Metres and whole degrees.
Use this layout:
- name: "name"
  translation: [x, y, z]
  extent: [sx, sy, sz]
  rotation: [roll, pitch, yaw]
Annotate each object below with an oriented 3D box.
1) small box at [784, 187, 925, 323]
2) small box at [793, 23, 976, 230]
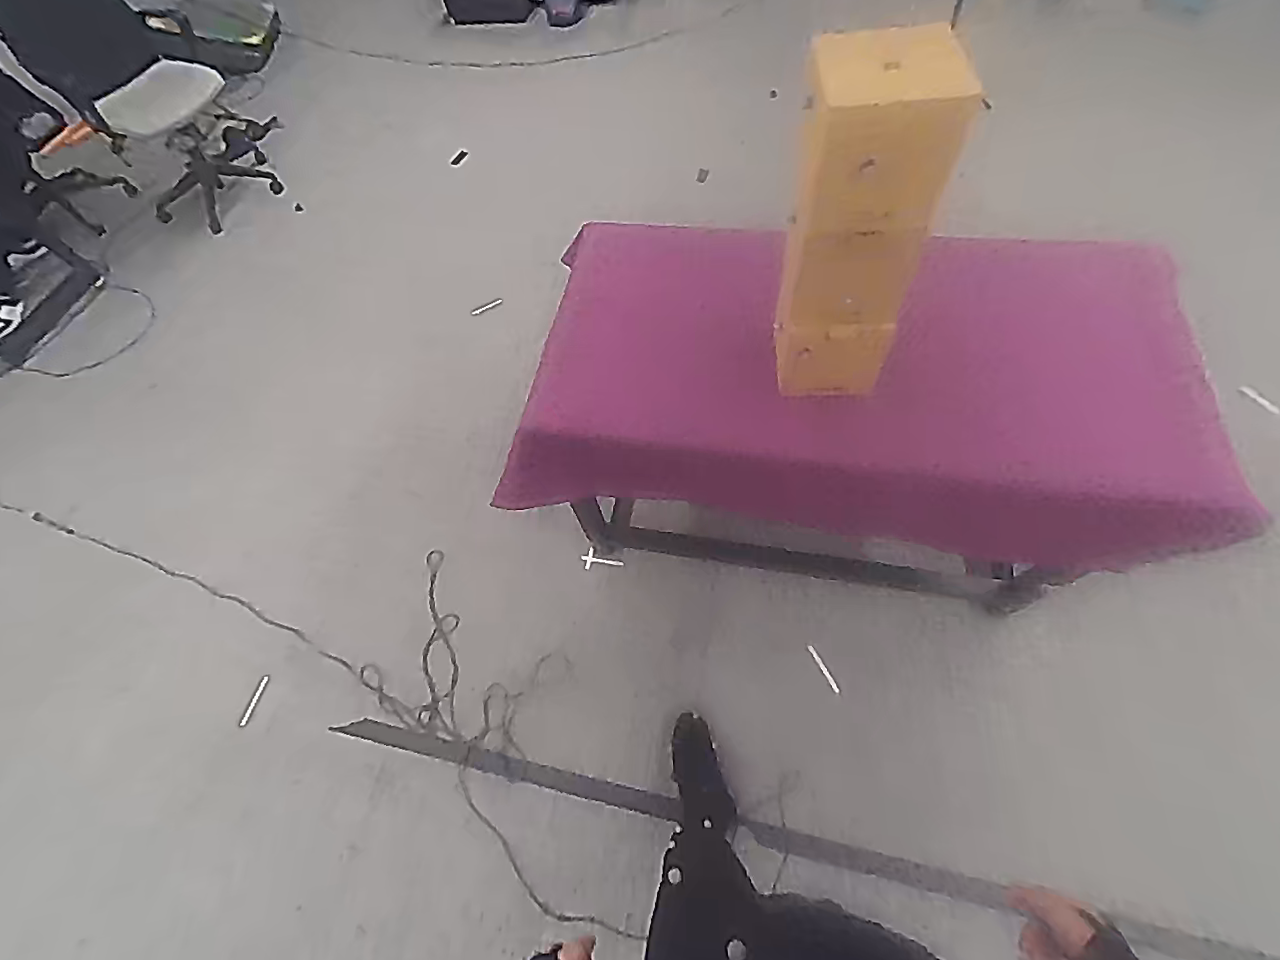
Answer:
- name: "small box"
  translation: [0.320, -0.371, 0.848]
  extent: [0.168, 0.176, 0.179]
  rotation: [1, 61, 8]
- name: "small box"
  translation: [0.299, -0.449, 0.706]
  extent: [0.168, 0.176, 0.179]
  rotation: [-1, 59, 7]
